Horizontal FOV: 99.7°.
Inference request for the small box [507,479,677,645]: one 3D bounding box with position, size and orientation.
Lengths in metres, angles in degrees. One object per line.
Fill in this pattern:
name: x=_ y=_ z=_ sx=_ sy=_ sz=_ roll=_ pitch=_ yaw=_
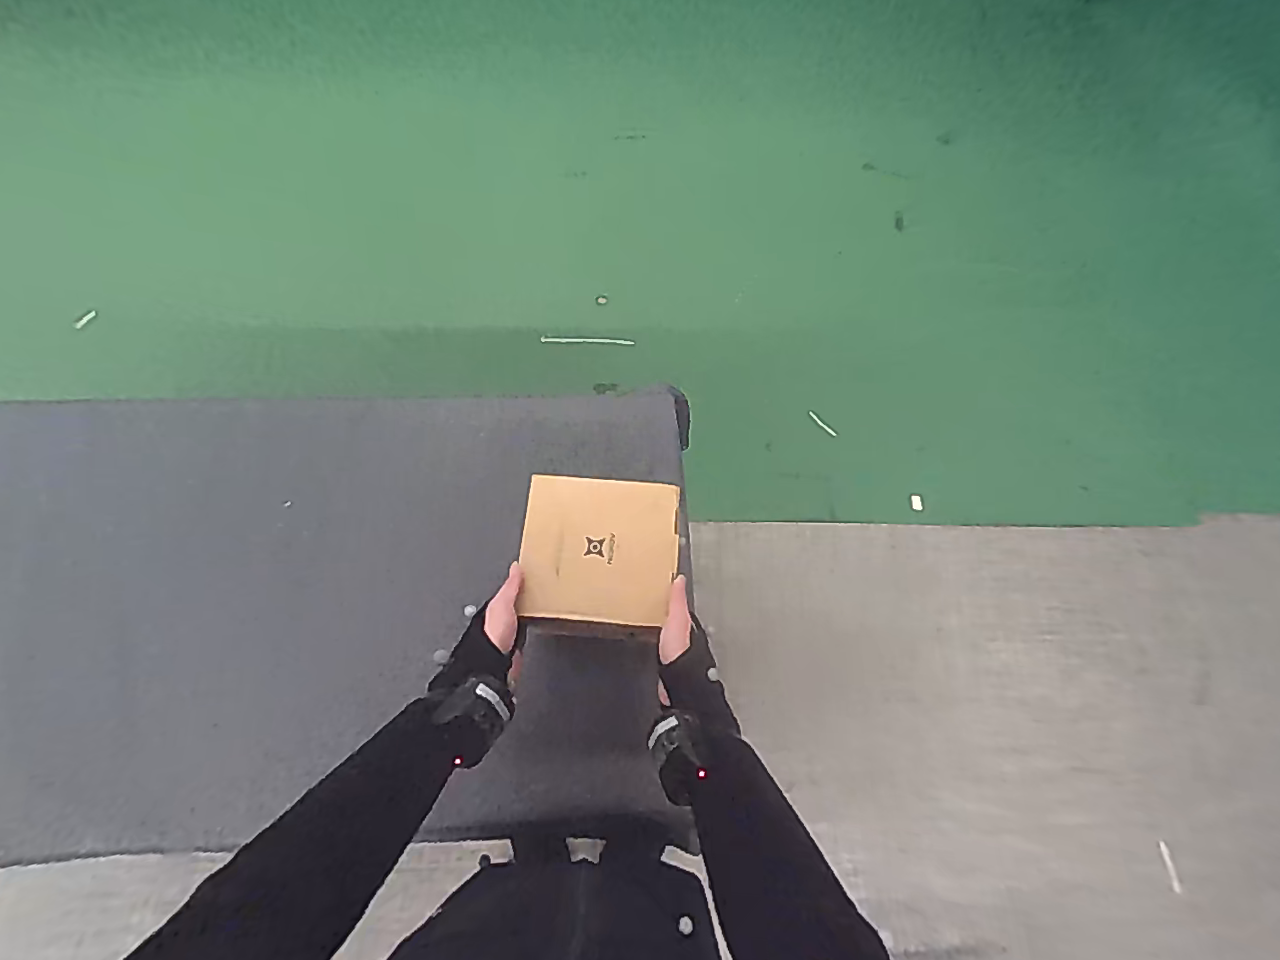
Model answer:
small box: x=-0.049 y=0.109 z=0.672 sx=0.179 sy=0.176 sz=0.168 roll=3 pitch=67 yaw=2
